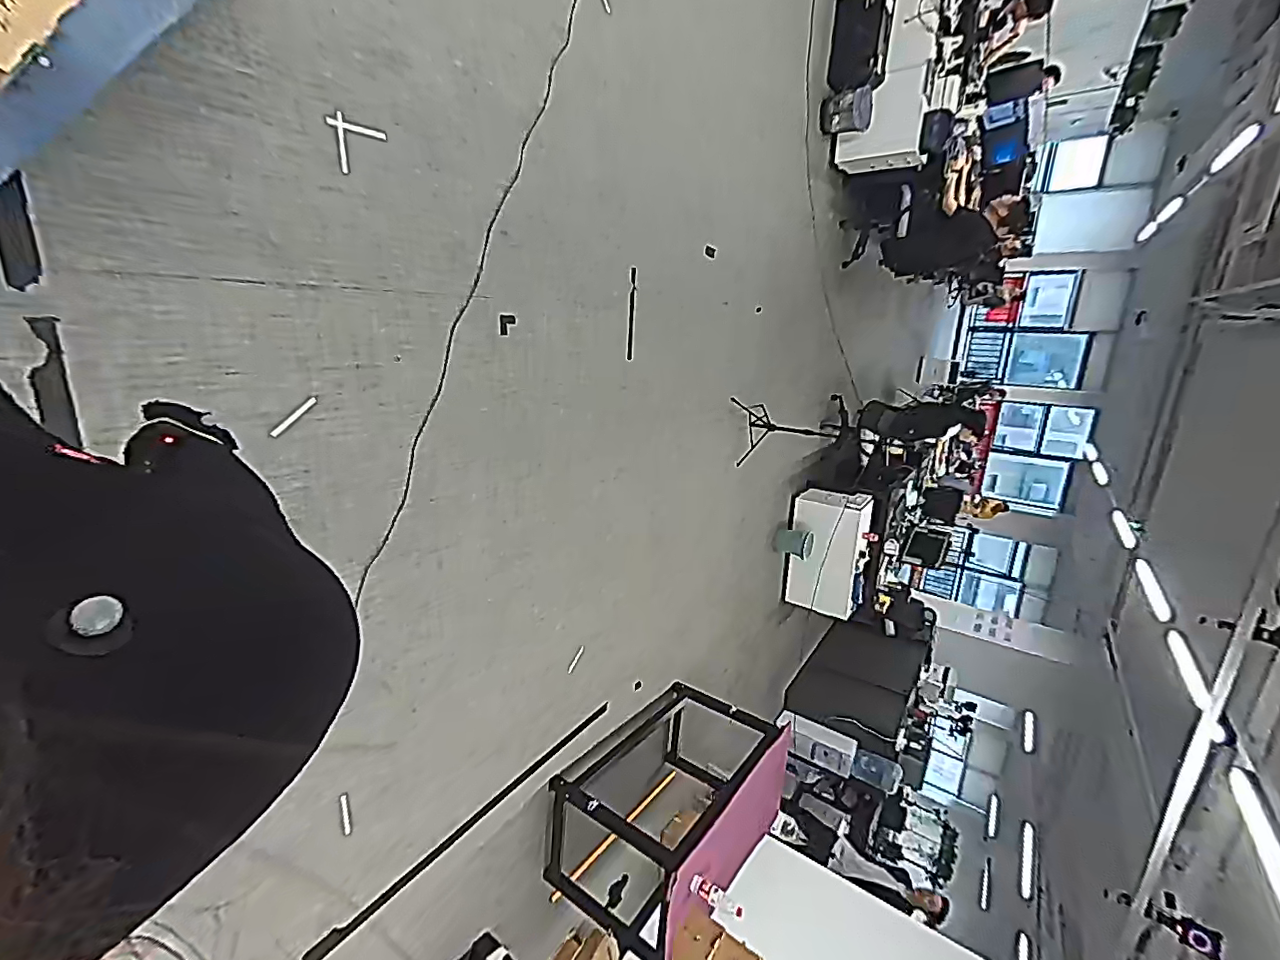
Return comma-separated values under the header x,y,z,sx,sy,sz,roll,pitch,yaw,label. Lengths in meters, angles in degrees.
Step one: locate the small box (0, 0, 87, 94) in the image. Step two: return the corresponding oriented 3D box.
x,y,z,sx,sy,sz,roll,pitch,yaw,label
-0.905,-0.650,0.709,0.179,0.176,0.168,45,64,-52,small box
